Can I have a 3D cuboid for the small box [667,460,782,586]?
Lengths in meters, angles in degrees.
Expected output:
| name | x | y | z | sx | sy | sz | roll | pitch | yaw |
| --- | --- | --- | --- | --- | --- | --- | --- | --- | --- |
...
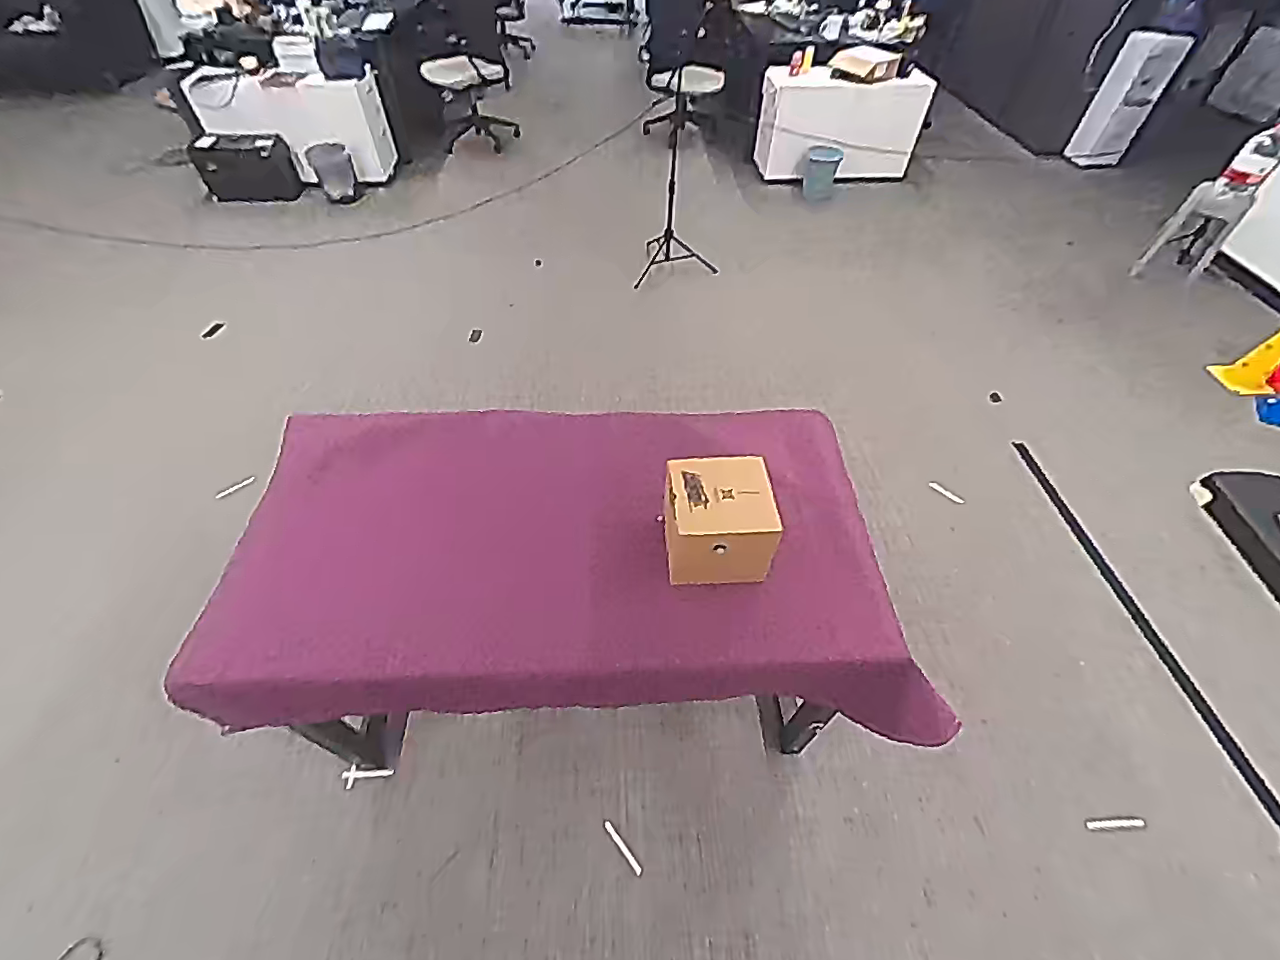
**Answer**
| name | x | y | z | sx | sy | sz | roll | pitch | yaw |
| --- | --- | --- | --- | --- | --- | --- | --- | --- | --- |
| small box | 0.142 | 0.081 | 0.985 | 0.179 | 0.176 | 0.168 | -2 | 50 | -3 |
